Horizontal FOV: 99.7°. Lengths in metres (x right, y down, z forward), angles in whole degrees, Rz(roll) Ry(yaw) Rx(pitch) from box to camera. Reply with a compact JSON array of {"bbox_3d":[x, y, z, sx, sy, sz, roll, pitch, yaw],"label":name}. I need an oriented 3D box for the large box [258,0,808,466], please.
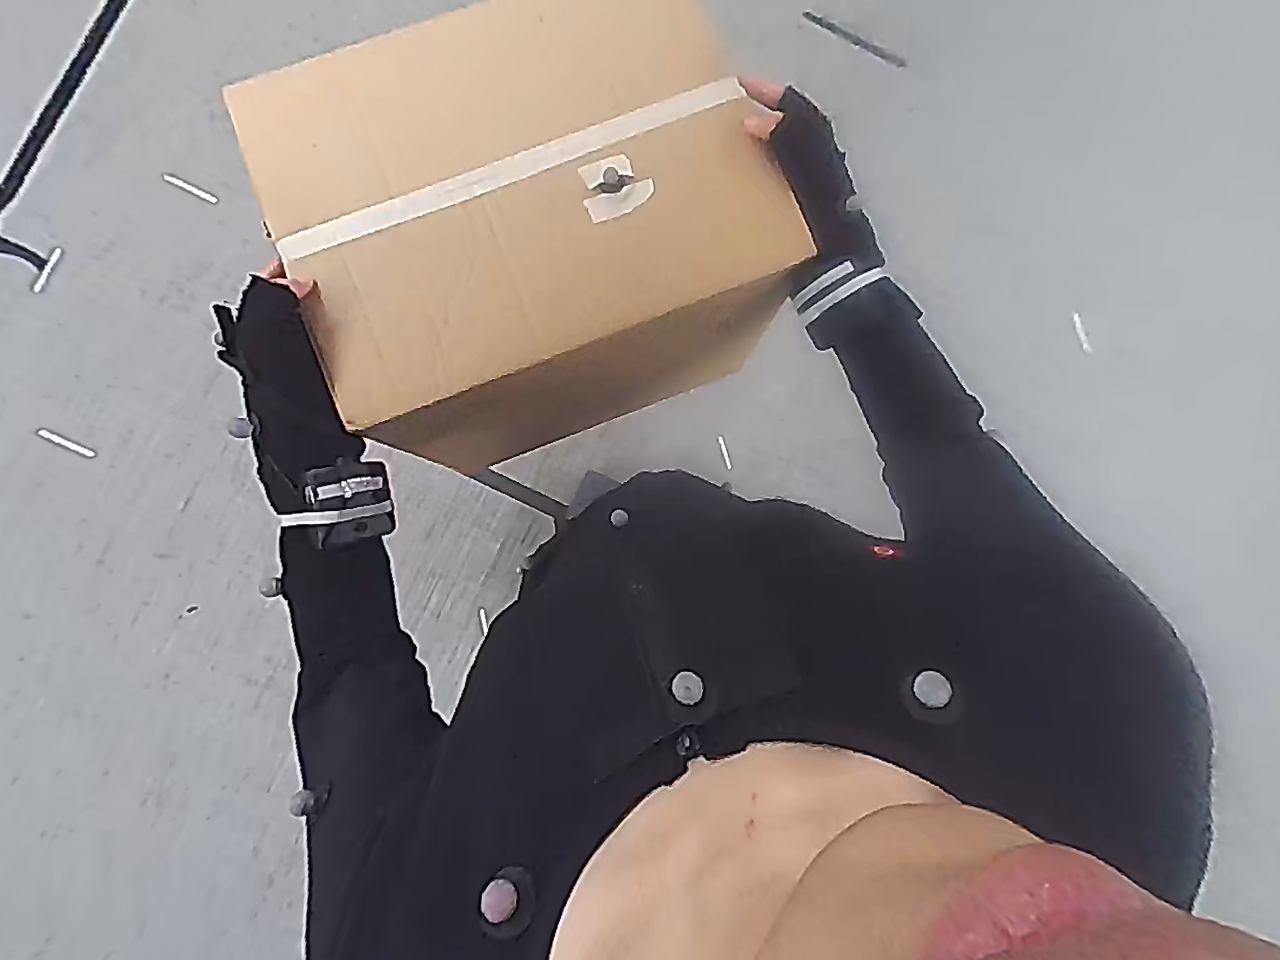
[{"bbox_3d":[-0.097,-0.245,0.610,0.408,0.320,0.320,-22,85,-4],"label":"large box"}]
